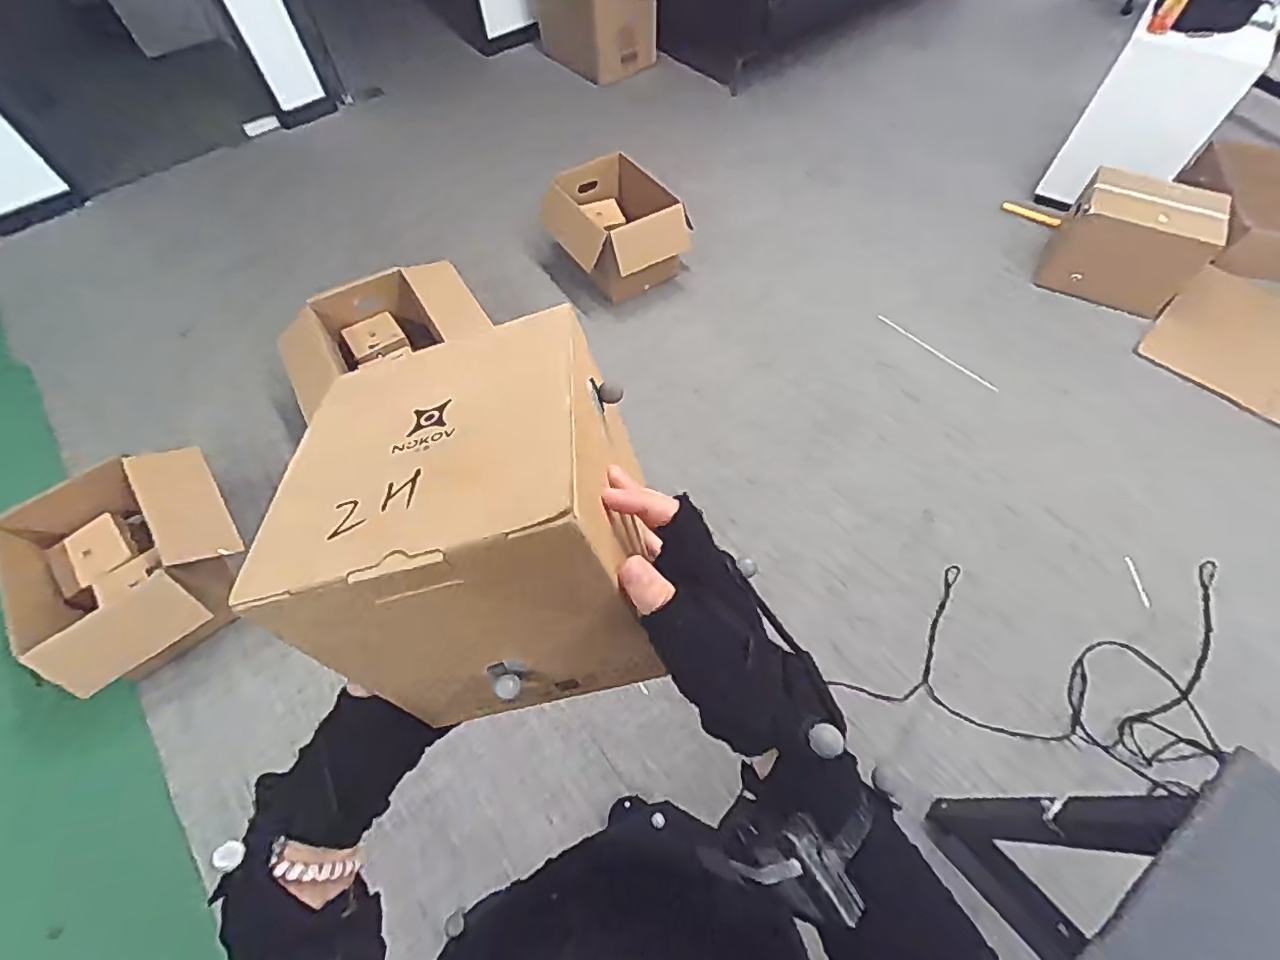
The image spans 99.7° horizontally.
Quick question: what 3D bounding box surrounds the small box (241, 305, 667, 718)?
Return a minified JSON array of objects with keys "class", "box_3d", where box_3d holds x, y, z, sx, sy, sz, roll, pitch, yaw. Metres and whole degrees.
[{"class":"small box","box_3d":[-0.087,0.024,0.343,0.168,0.176,0.179,-14,47,7]}]
